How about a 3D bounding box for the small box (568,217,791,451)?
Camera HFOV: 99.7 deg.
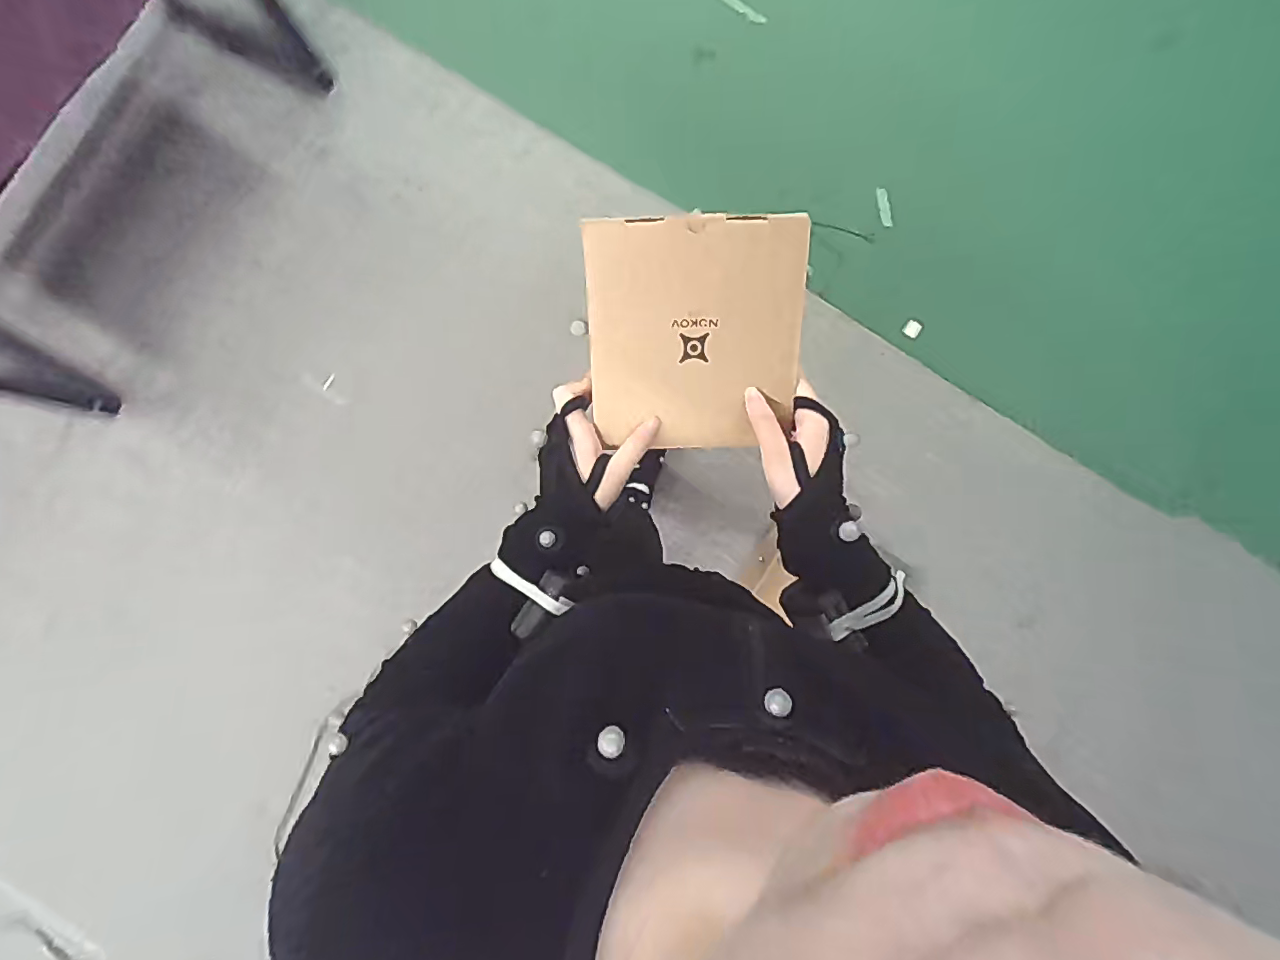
[{"bbox_3d":[0.030,-0.138,0.496,0.168,0.176,0.179,-3,112,0],"label":"small box"}]
